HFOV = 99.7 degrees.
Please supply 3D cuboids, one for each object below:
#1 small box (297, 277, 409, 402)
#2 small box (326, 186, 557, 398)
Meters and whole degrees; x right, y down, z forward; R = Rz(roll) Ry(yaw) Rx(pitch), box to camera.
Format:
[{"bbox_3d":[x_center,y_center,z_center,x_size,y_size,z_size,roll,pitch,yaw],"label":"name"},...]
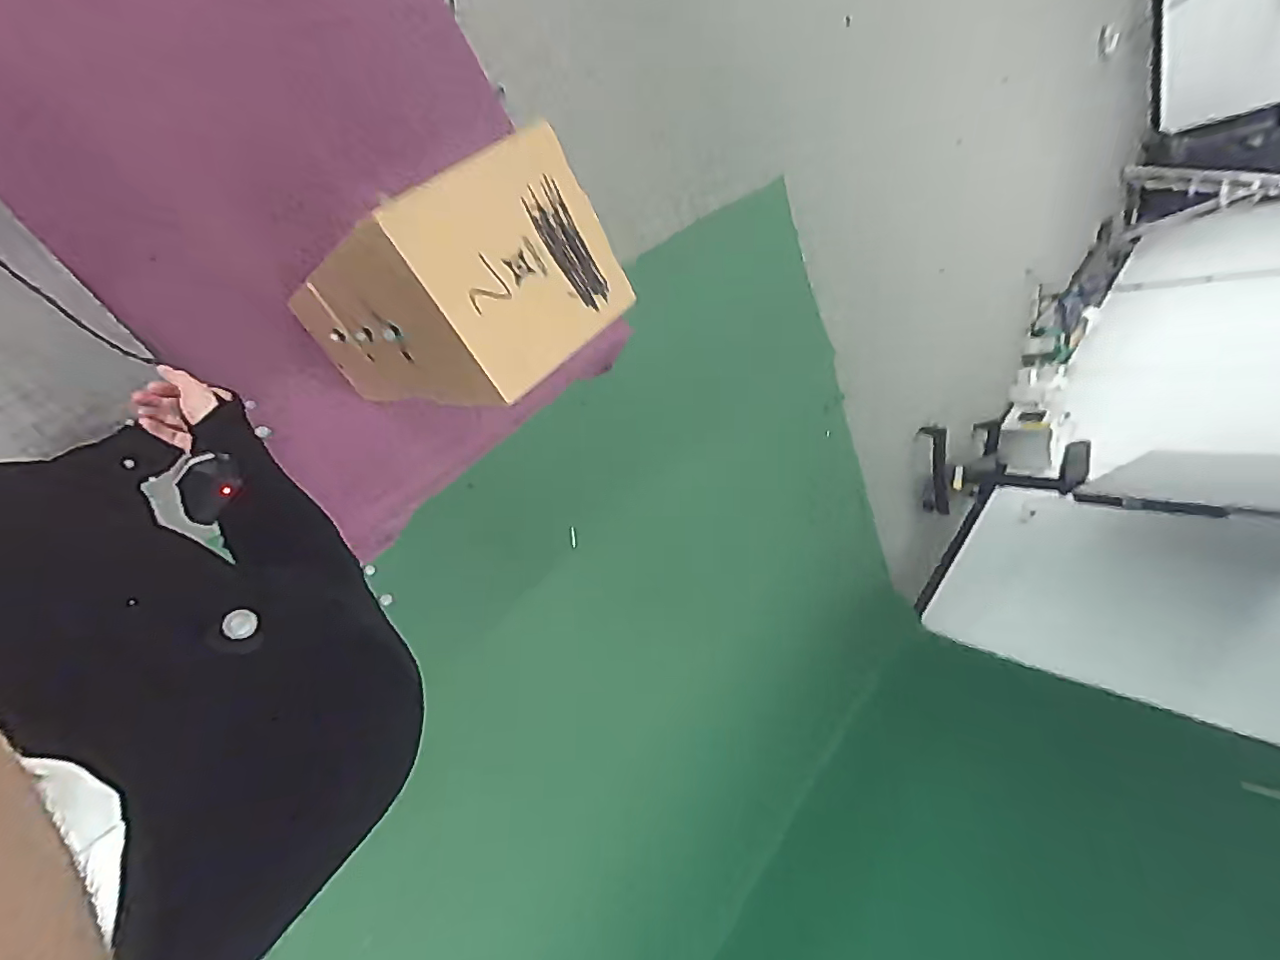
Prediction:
[{"bbox_3d":[-0.344,-0.225,0.762,0.179,0.176,0.168,-45,121,-26],"label":"small box"},{"bbox_3d":[-0.238,-0.208,0.636,0.179,0.176,0.168,-44,121,-27],"label":"small box"}]
